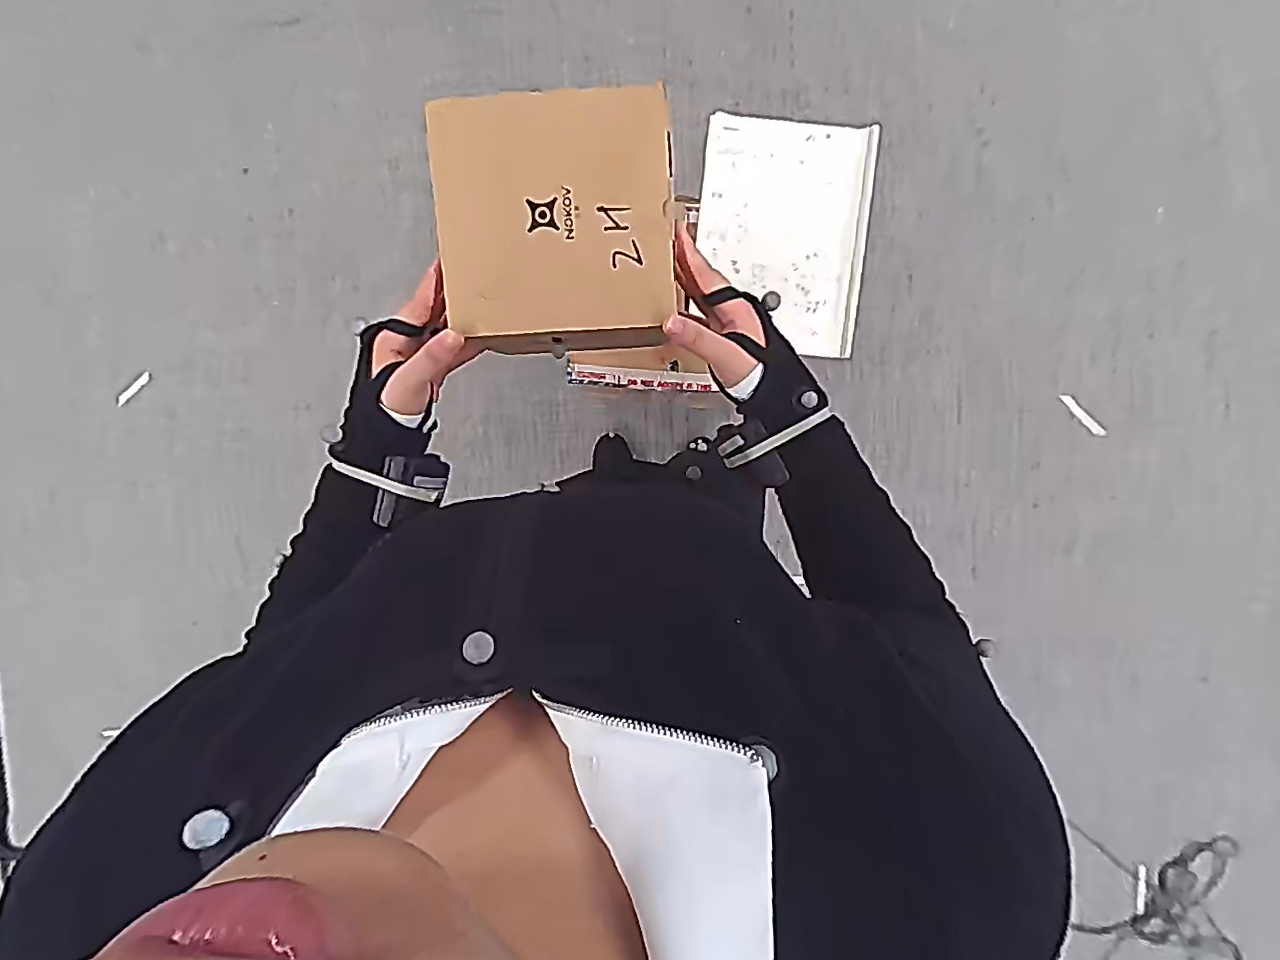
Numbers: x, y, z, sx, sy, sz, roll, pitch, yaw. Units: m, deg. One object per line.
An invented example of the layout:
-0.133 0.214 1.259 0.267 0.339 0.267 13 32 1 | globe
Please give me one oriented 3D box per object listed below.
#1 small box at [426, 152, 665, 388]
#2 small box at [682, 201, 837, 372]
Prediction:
-0.068 -0.170 0.489 0.179 0.176 0.168 -3 100 1 | small box
0.153 -0.255 0.752 0.168 0.176 0.179 6 96 -1 | small box
